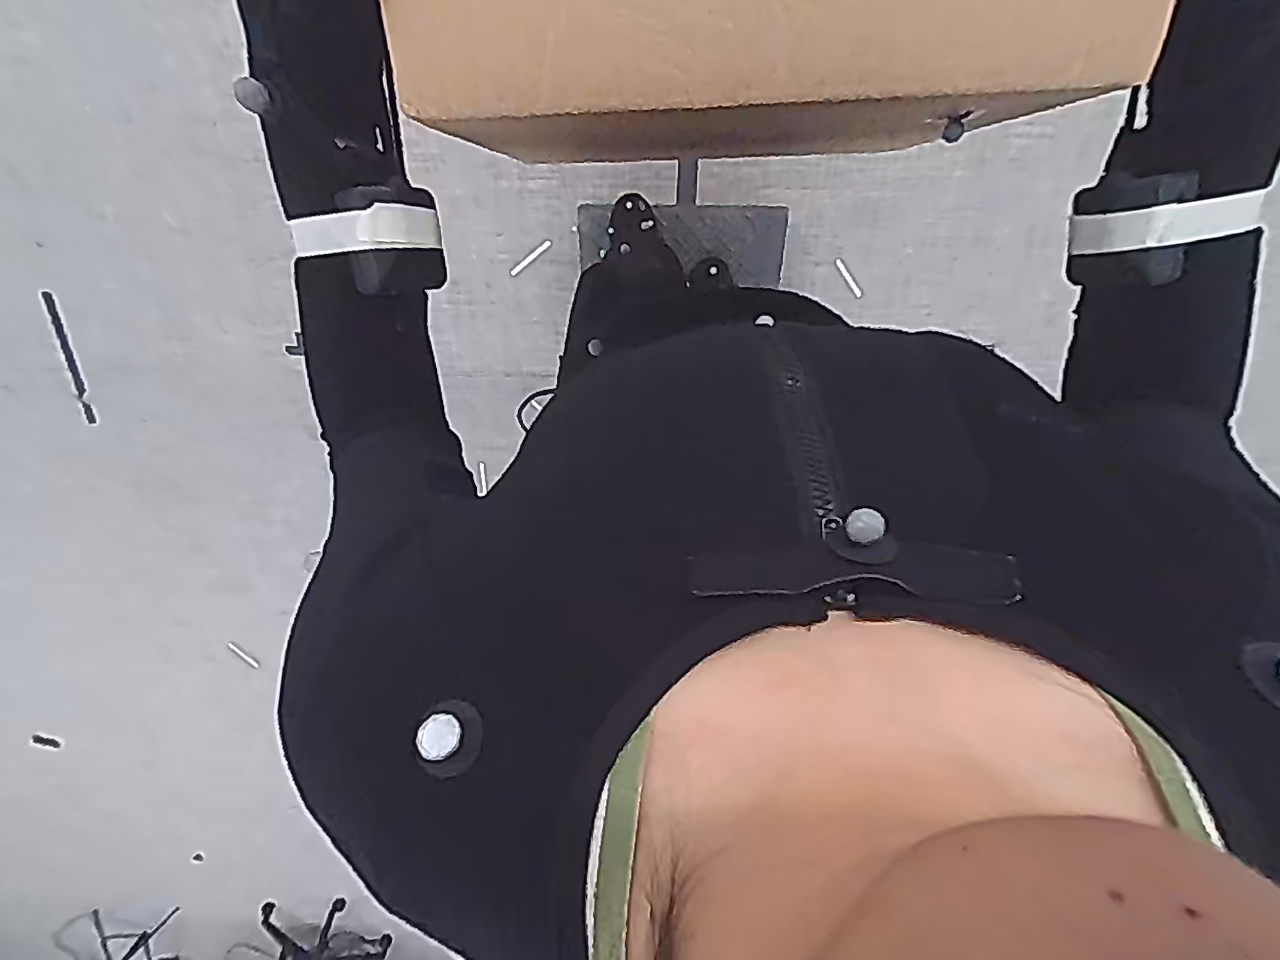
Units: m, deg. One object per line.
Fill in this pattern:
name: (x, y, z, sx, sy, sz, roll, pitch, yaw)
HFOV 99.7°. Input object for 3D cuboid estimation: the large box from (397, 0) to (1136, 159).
large box: (0.066, -0.420, 0.375, 0.408, 0.320, 0.320, -1, 116, 2)
